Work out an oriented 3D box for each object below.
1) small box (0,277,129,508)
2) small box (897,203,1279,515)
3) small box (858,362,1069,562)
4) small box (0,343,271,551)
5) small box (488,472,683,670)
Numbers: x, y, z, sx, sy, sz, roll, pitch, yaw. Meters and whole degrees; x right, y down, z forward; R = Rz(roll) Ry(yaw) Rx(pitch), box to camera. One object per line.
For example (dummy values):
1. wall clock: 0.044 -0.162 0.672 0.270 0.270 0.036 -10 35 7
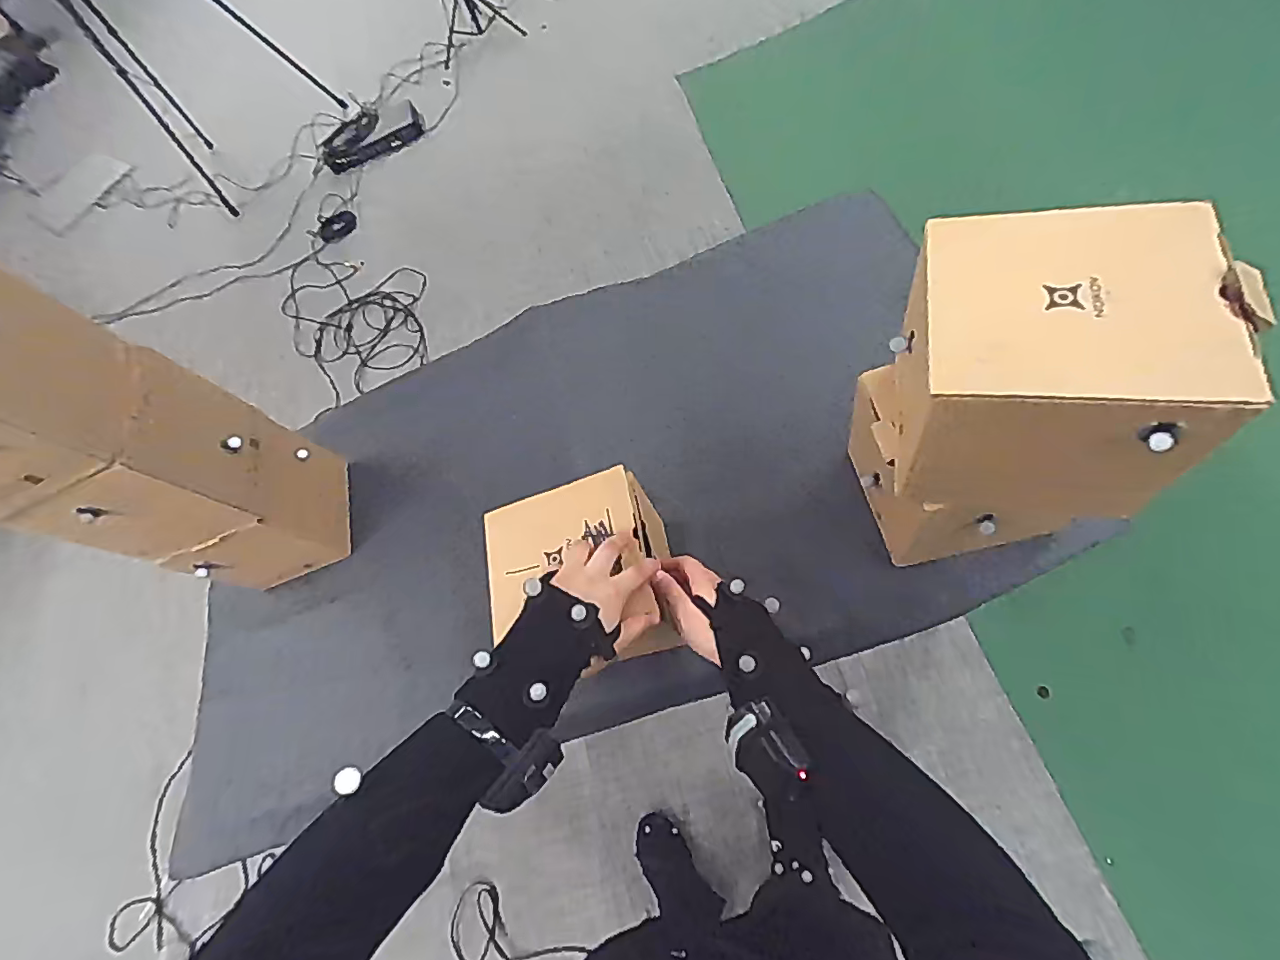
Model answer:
1. small box: -0.643 -0.086 0.514 0.168 0.176 0.179 -23 63 4
2. small box: 0.307 -0.082 0.422 0.179 0.176 0.168 5 66 18
3. small box: 0.343 -0.026 0.572 0.179 0.176 0.168 -15 61 10
4. small box: -0.597 -0.028 0.658 0.179 0.176 0.168 -20 65 6
5. small box: -0.054 0.115 0.629 0.179 0.176 0.168 -17 63 9
